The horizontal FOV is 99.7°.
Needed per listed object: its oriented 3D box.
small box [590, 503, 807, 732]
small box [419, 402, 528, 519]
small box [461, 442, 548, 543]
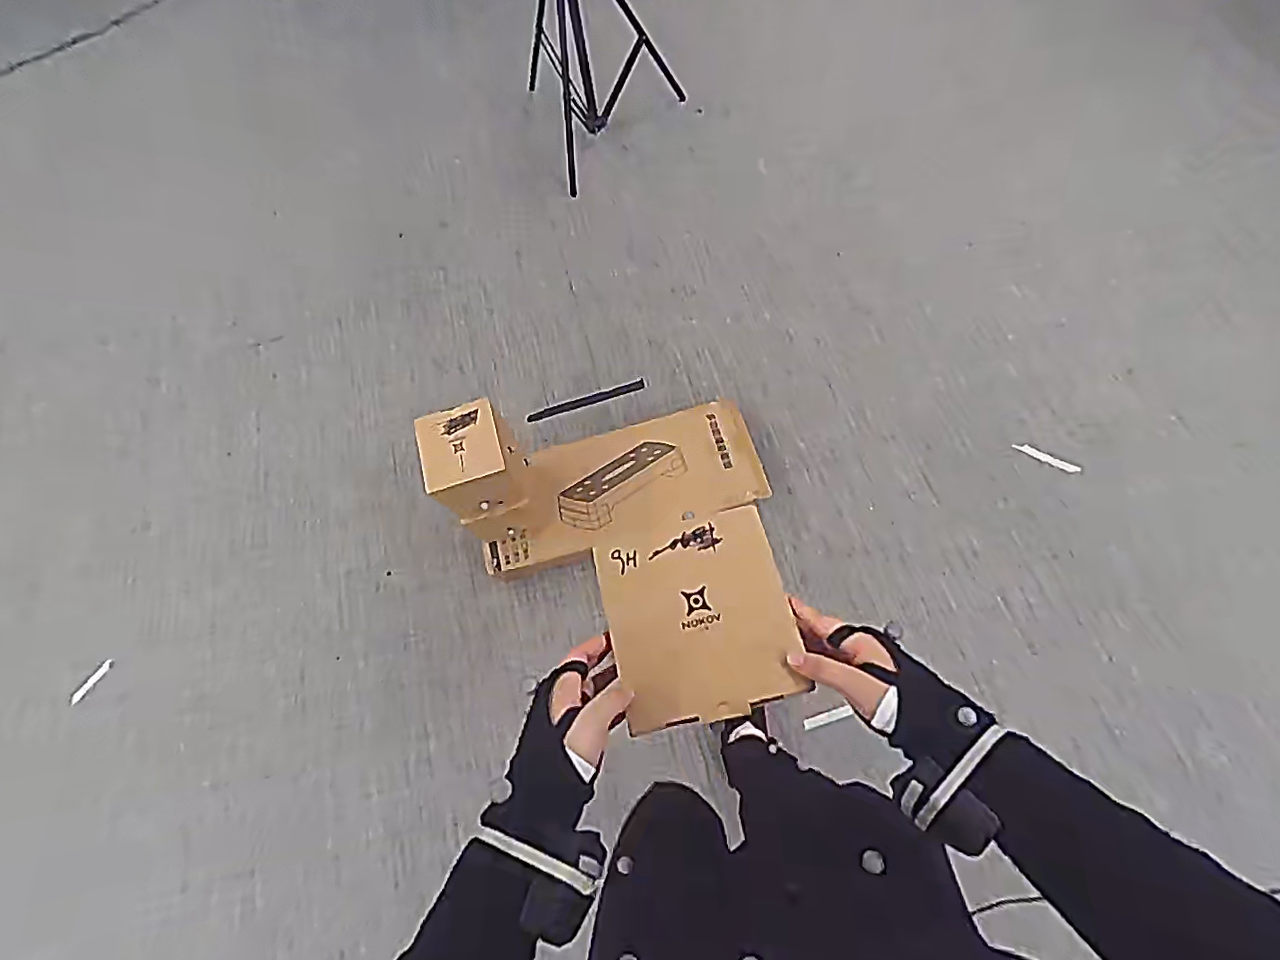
[{"bbox_3d":[0.052,0.146,0.563,0.168,0.176,0.179,-13,68,-3],"label":"small box"},{"bbox_3d":[-0.358,-0.037,1.180,0.168,0.176,0.179,-18,68,-1],"label":"small box"},{"bbox_3d":[-0.337,0.036,1.326,0.168,0.176,0.179,-16,68,-1],"label":"small box"}]
